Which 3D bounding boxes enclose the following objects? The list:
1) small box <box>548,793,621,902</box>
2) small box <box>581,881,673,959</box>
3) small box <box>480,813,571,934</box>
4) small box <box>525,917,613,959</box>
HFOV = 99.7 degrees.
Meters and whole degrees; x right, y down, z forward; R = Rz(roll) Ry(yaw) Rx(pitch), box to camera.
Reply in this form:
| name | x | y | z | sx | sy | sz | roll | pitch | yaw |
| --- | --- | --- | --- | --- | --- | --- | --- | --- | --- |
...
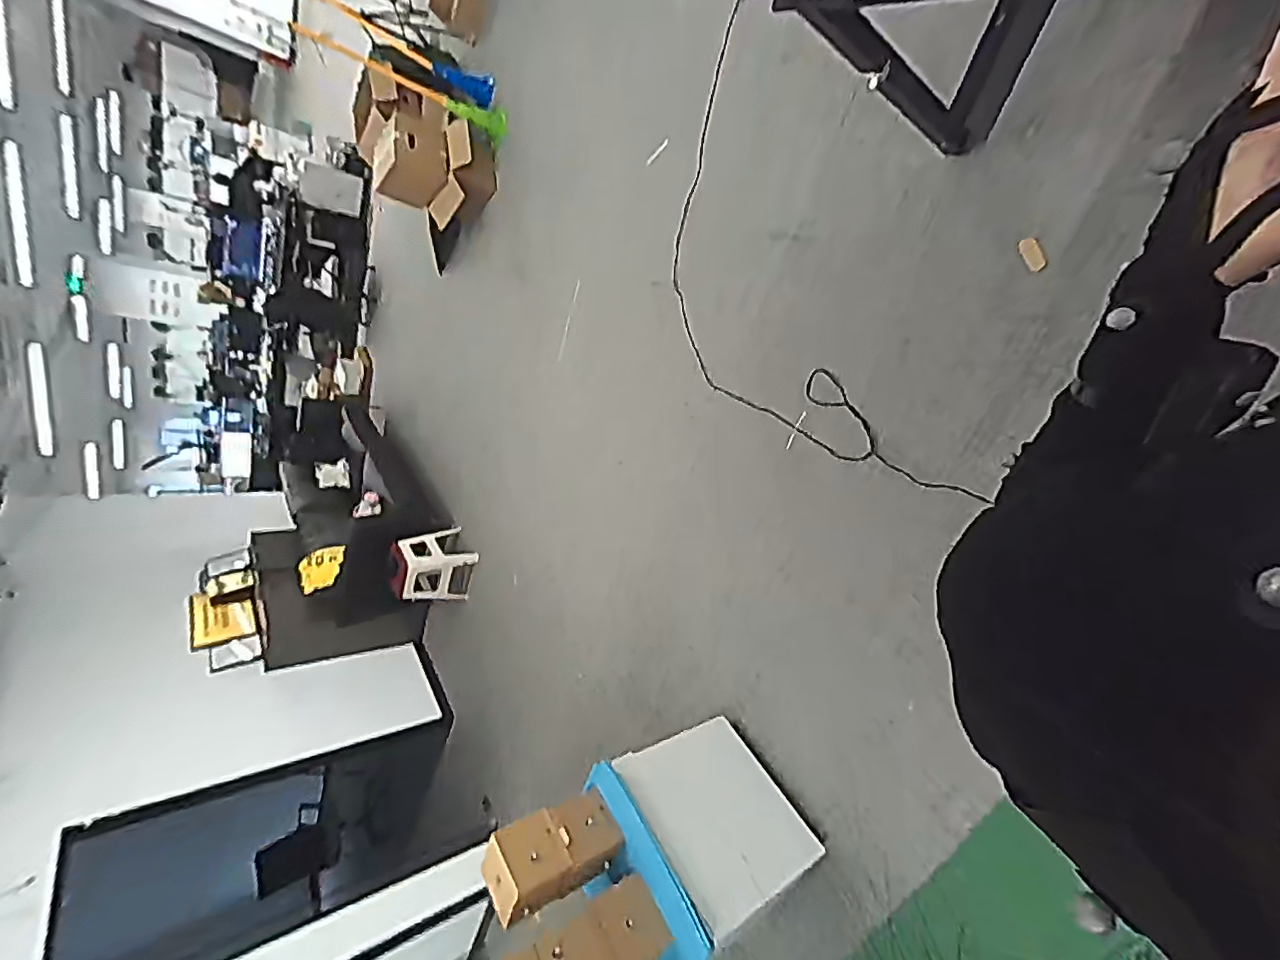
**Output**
| name | x | y | z | sx | sy | sz | roll | pitch | yaw |
| --- | --- | --- | --- | --- | --- | --- | --- | --- | --- |
| small box | -0.176 | 1.041 | 1.547 | 0.168 | 0.176 | 0.179 | 44 | 122 | 39 |
| small box | -0.048 | 1.187 | 1.400 | 0.179 | 0.176 | 0.168 | 43 | 123 | 40 |
| small box | -0.305 | 1.042 | 1.447 | 0.168 | 0.176 | 0.179 | 41 | 123 | 40 |
| small box | -0.167 | 1.193 | 1.287 | 0.179 | 0.176 | 0.168 | 44 | 123 | 40 |
